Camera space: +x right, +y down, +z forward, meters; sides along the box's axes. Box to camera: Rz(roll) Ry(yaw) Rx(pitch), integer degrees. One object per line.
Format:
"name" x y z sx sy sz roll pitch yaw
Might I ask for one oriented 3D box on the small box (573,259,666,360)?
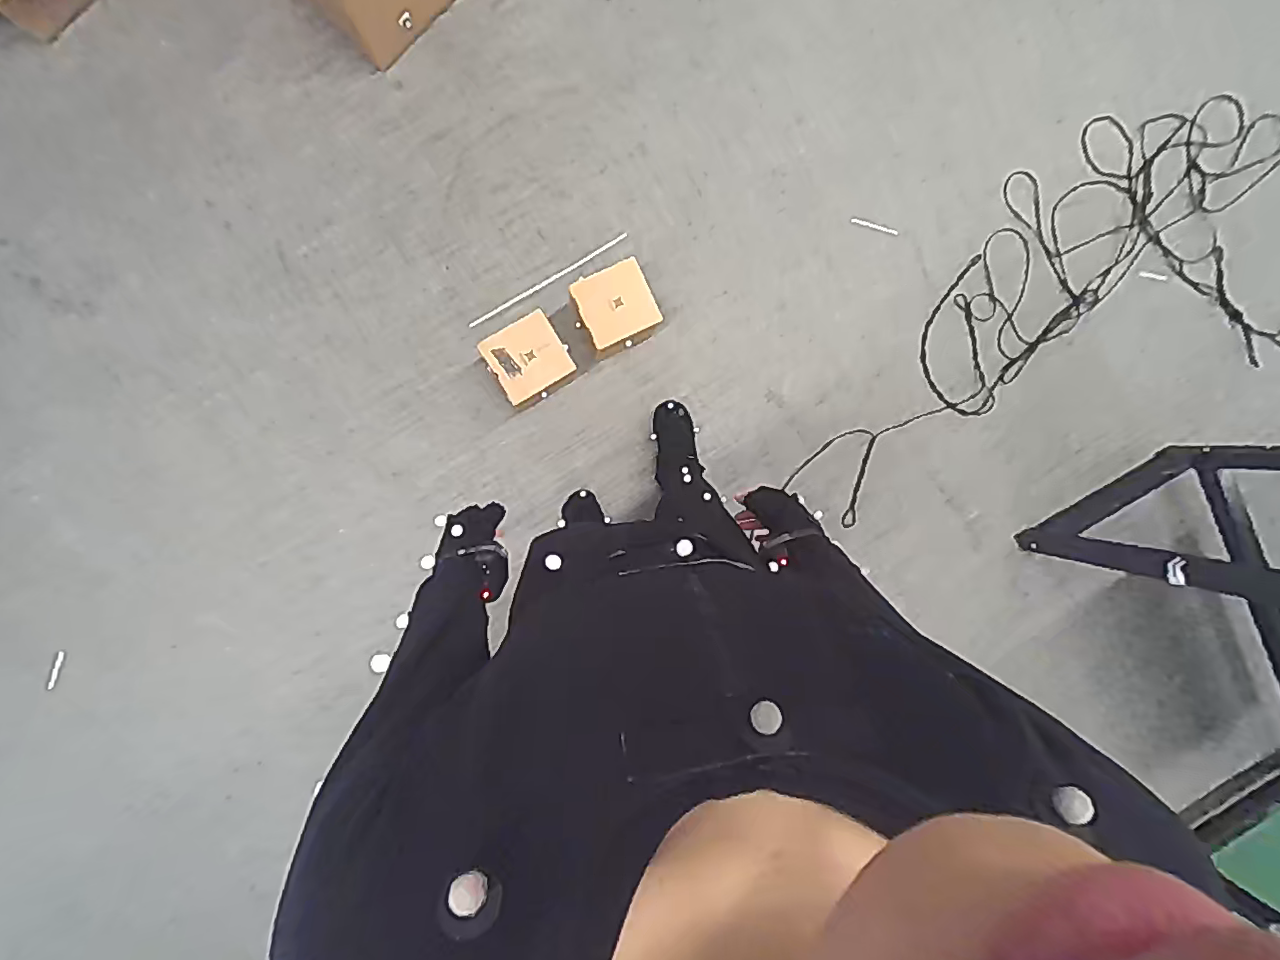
"small box" -0.055 -0.418 1.351 0.179 0.176 0.168 -26 96 -3

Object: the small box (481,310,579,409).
"small box" -0.263 -0.287 1.337 0.179 0.176 0.168 -32 96 -4
